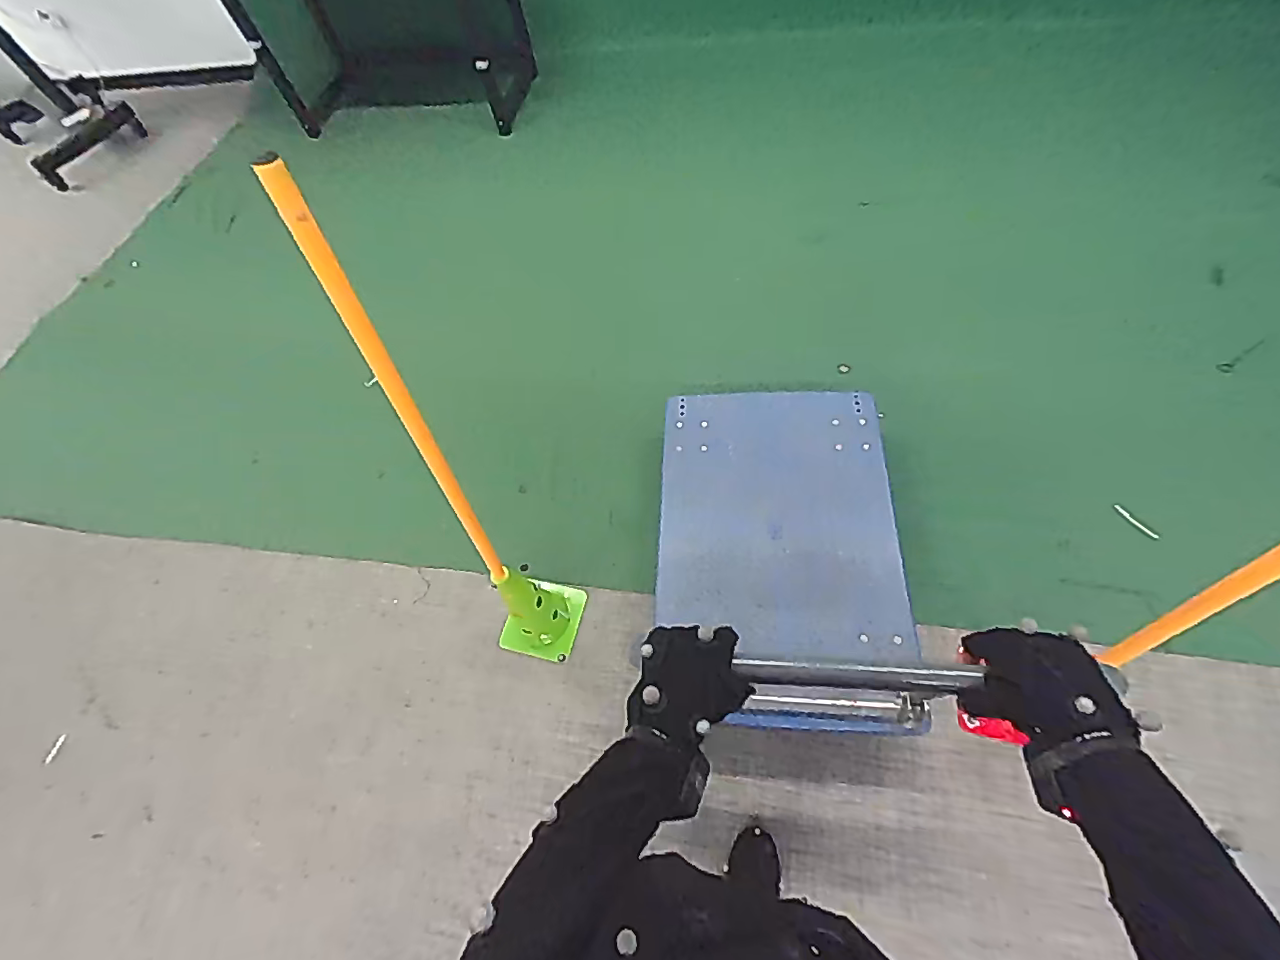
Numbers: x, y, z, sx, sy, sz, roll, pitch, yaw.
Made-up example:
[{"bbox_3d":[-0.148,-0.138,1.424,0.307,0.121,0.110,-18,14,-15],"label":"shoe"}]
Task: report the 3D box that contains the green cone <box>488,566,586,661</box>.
[{"bbox_3d":[-0.284,0.293,1.334,0.202,0.368,0.200,8,61,14],"label":"green cone"}]
